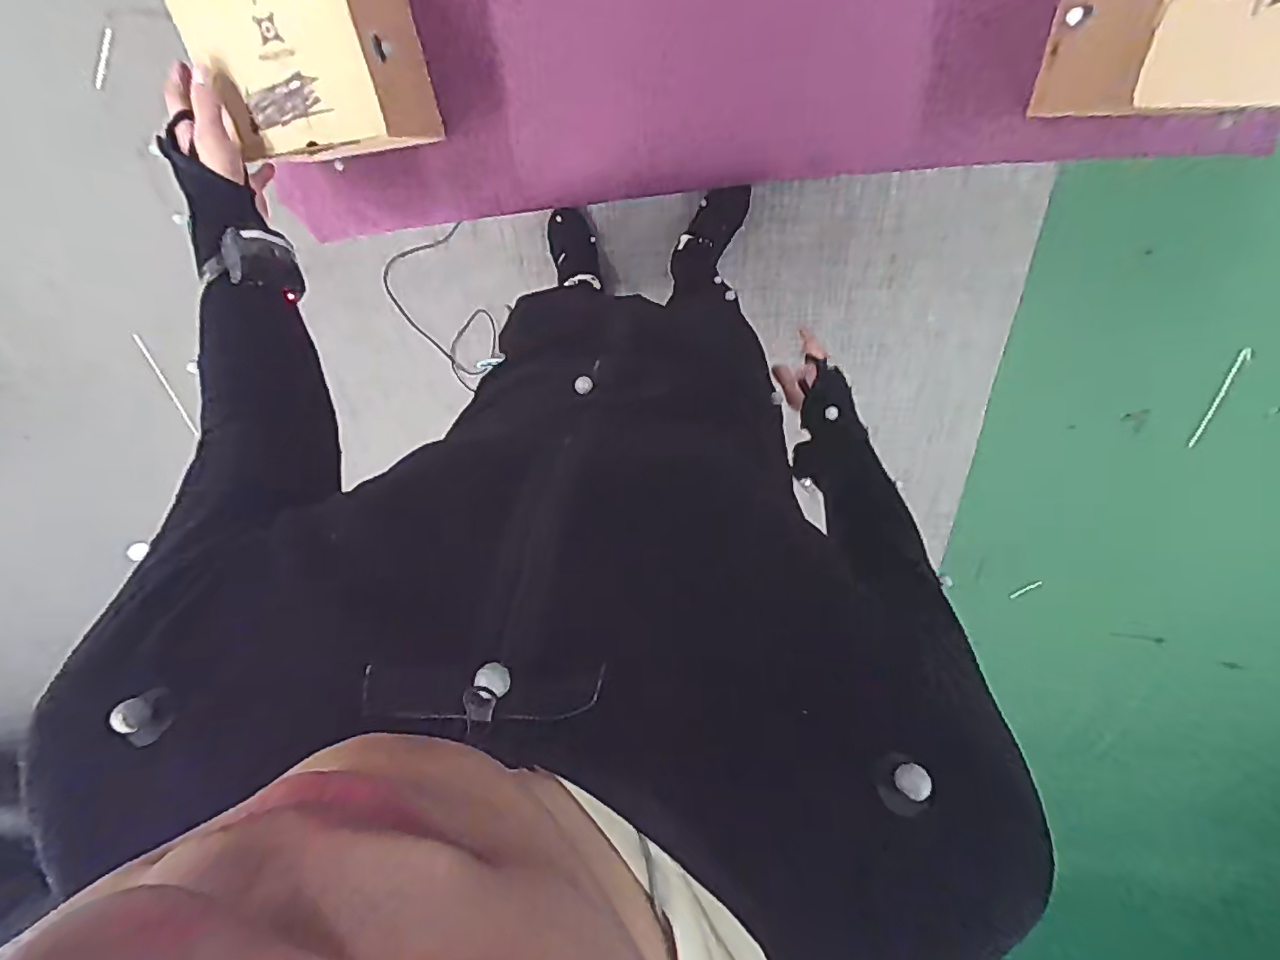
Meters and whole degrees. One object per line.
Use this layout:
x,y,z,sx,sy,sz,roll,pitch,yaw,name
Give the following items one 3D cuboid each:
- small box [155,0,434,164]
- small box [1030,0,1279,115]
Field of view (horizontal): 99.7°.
-0.341,-0.443,0.561,0.168,0.176,0.179,-6,121,6,small box
0.531,-0.452,0.515,0.179,0.176,0.168,1,122,3,small box
